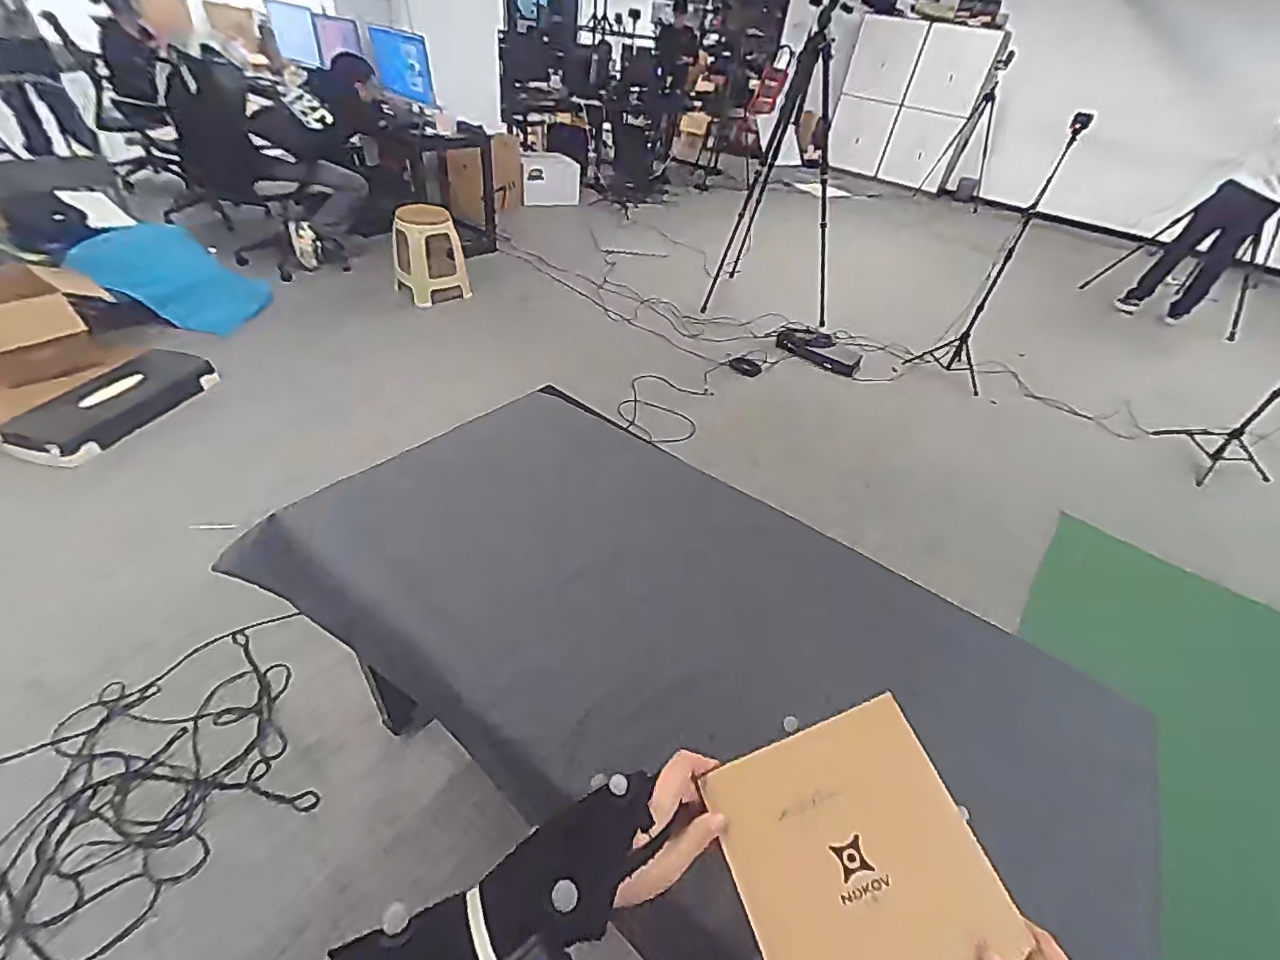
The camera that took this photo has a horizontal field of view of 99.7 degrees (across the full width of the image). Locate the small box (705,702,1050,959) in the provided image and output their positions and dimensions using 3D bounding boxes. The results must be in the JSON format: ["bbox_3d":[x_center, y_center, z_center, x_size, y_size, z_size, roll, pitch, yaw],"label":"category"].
[{"bbox_3d":[0.168,0.306,0.442,0.168,0.176,0.179,-24,59,-2],"label":"small box"}]
